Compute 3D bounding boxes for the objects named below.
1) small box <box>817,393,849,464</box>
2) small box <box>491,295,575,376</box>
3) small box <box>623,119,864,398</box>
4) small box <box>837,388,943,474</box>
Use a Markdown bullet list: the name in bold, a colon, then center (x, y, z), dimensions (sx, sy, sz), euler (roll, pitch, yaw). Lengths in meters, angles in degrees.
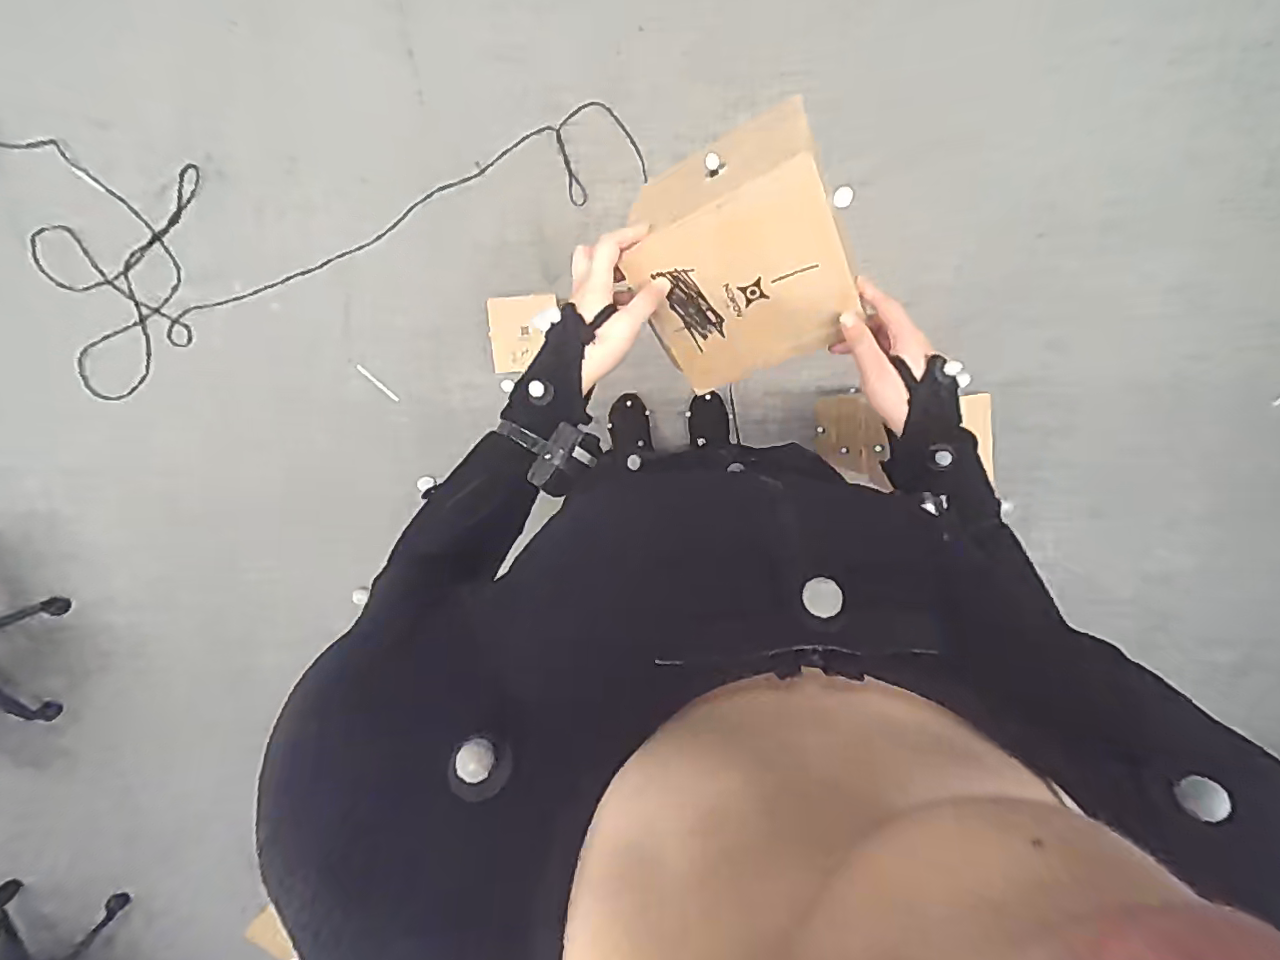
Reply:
- **small box**: center (0.560, -0.136, 1.382), dimensions (0.179, 0.176, 0.168), euler (-3, 101, 3)
- **small box**: center (-0.263, -0.358, 1.362), dimensions (0.168, 0.176, 0.179), euler (-4, 100, 3)
- **small box**: center (0.108, -0.217, 0.544), dimensions (0.179, 0.176, 0.168), euler (-17, 132, 27)
- **small box**: center (0.553, -0.115, 1.220), dimensions (0.179, 0.176, 0.168), euler (-6, 102, 2)
